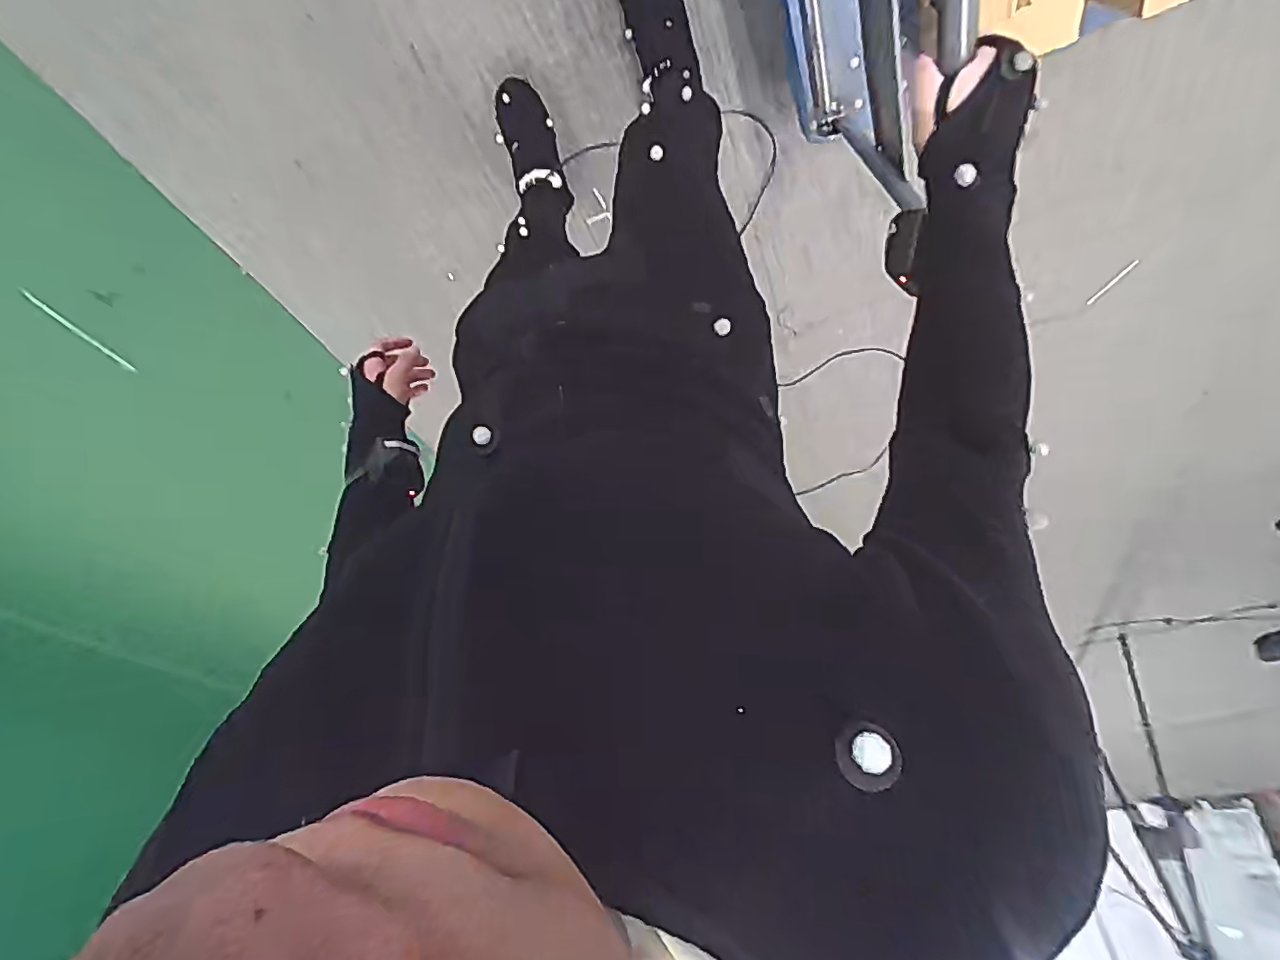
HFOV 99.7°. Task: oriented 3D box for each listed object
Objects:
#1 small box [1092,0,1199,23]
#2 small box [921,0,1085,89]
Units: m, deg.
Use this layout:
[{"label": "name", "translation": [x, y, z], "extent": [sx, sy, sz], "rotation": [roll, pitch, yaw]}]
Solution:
[{"label": "small box", "translation": [0.793, -0.809, 0.773], "extent": [0.179, 0.176, 0.168], "rotation": [-14, 137, 19]}, {"label": "small box", "translation": [0.561, -0.760, 0.843], "extent": [0.179, 0.176, 0.168], "rotation": [-12, 138, 17]}]
